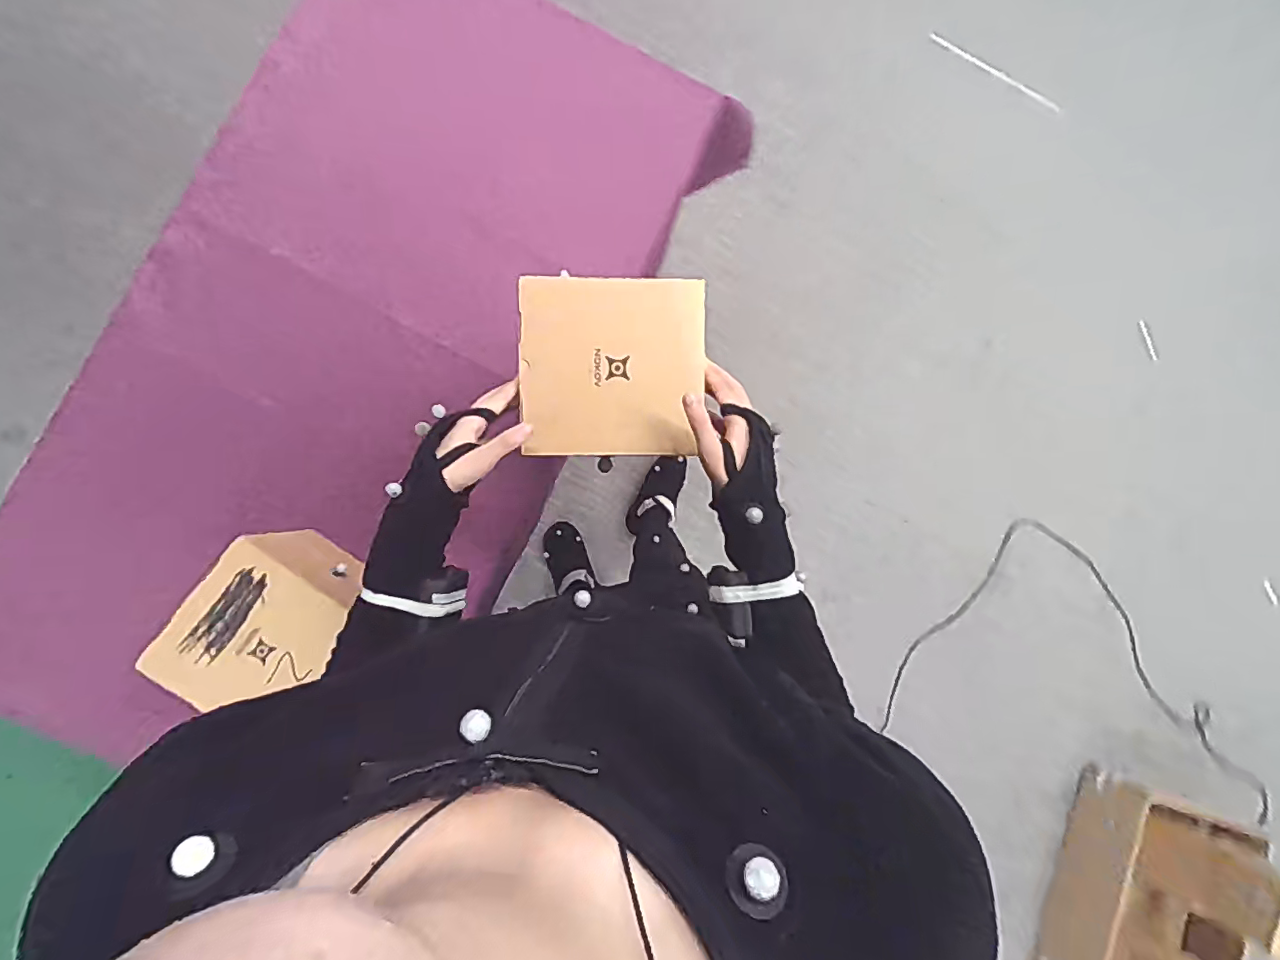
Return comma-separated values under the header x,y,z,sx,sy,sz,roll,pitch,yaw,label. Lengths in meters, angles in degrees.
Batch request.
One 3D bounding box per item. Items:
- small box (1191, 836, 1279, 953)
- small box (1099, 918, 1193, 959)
x,y,z,sx,sy,sz,roll,pitch,yaw,label
1.535,1.031,1.336,0.168,0.176,0.179,23,86,-2,small box
1.404,1.354,1.469,0.168,0.176,0.179,23,84,-4,small box
